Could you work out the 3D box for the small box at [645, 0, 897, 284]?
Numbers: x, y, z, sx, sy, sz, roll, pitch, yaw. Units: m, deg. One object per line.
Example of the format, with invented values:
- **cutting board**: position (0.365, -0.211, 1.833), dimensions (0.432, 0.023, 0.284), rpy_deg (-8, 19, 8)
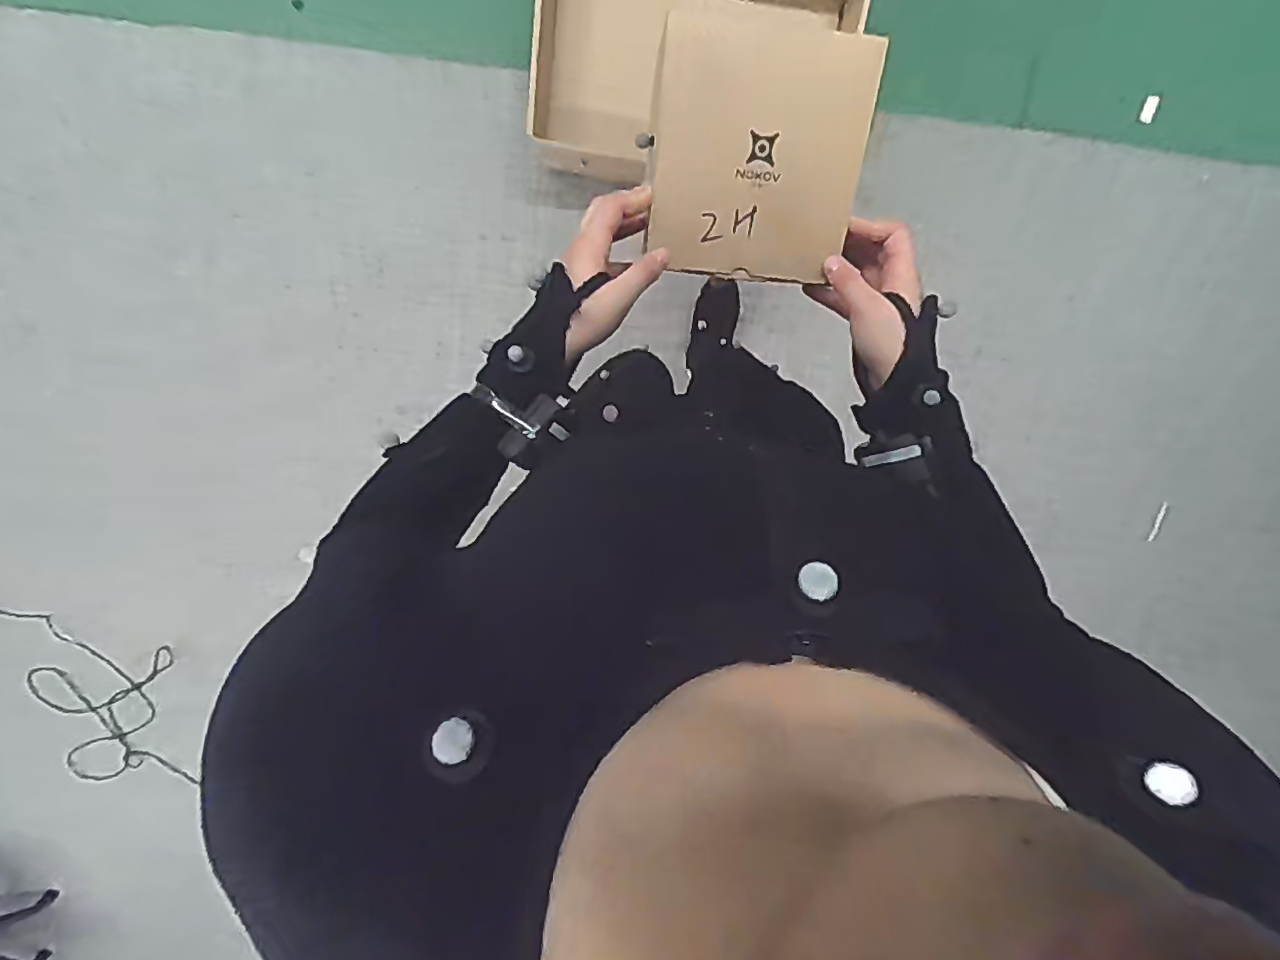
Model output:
- **small box**: position (0.095, -0.284, 0.492), dimensions (0.168, 0.176, 0.179), rpy_deg (5, 114, -4)
